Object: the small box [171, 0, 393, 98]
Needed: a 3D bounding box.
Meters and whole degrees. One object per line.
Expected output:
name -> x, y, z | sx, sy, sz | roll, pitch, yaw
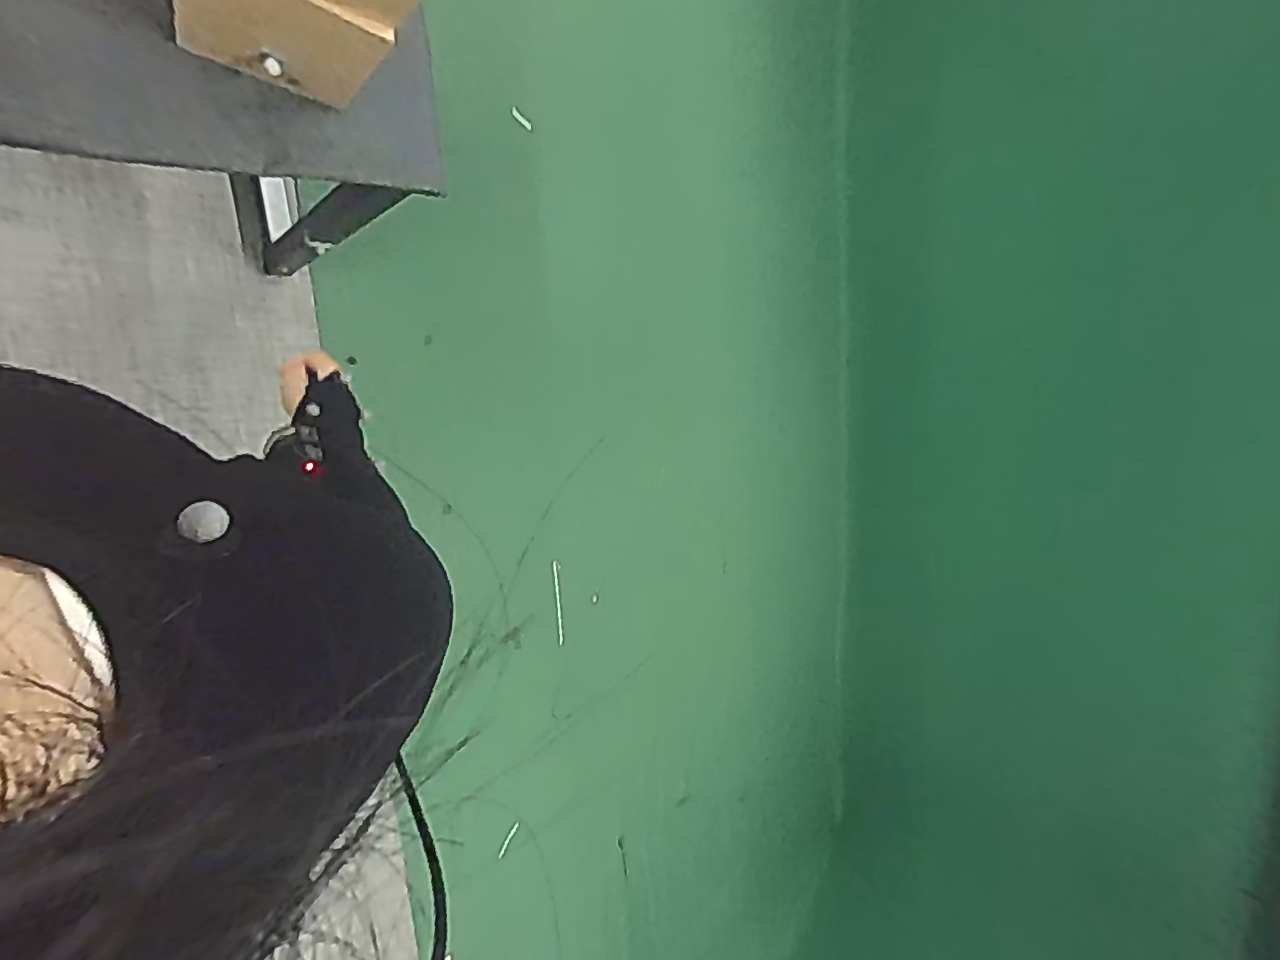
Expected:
small box -> -0.378, -0.555, 0.564 | 0.168, 0.176, 0.179 | -5, 97, -46
